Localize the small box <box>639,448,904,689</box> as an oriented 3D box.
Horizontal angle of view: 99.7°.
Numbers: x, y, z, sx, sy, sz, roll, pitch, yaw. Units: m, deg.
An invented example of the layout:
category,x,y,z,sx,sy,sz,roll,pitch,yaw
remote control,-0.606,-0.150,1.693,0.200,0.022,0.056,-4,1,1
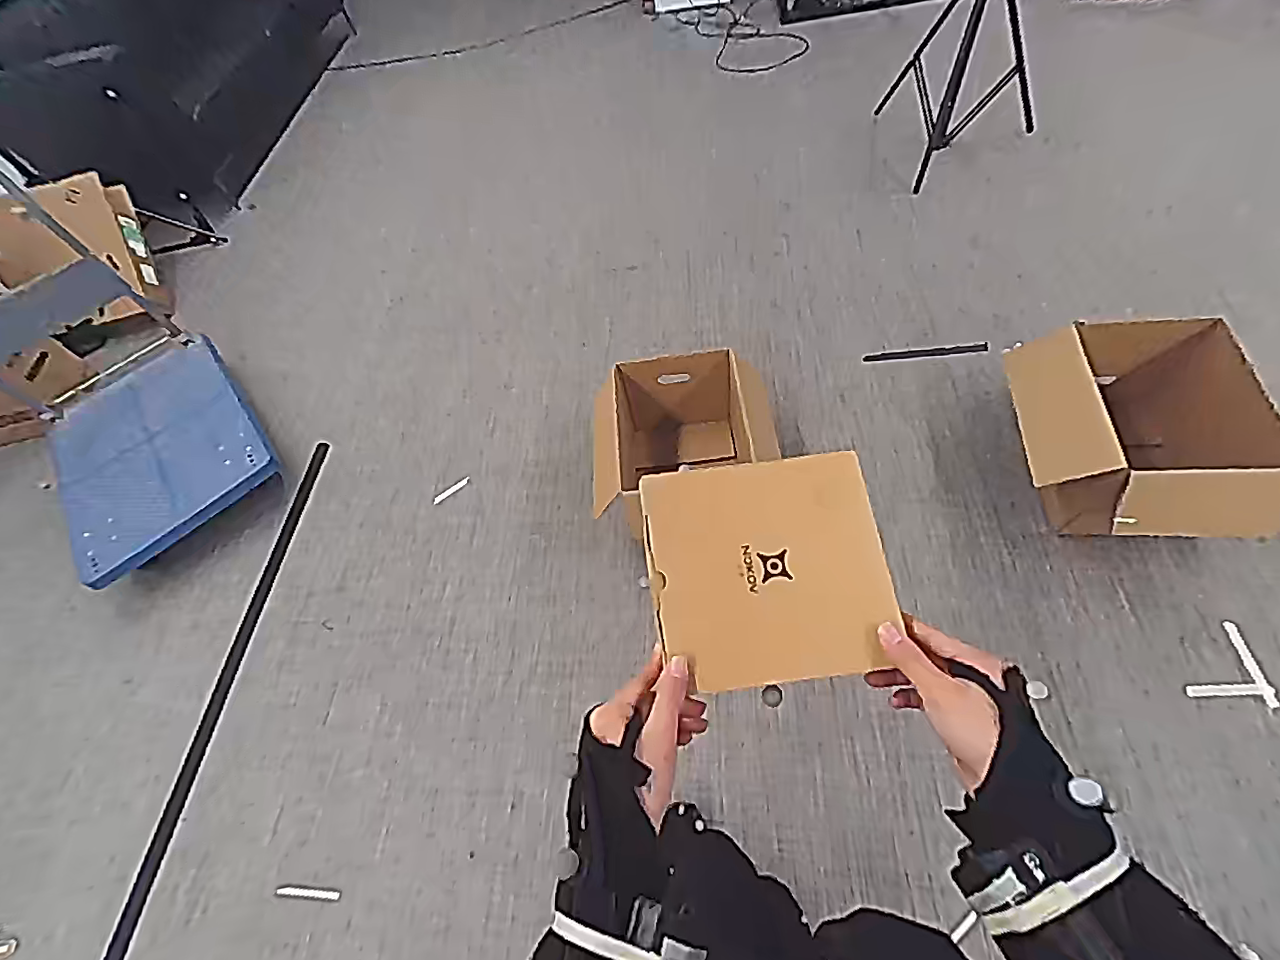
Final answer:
category,x,y,z,sx,sy,sz,roll,pitch,yaw
small box,0.097,0.085,0.482,0.179,0.176,0.168,-8,72,1
